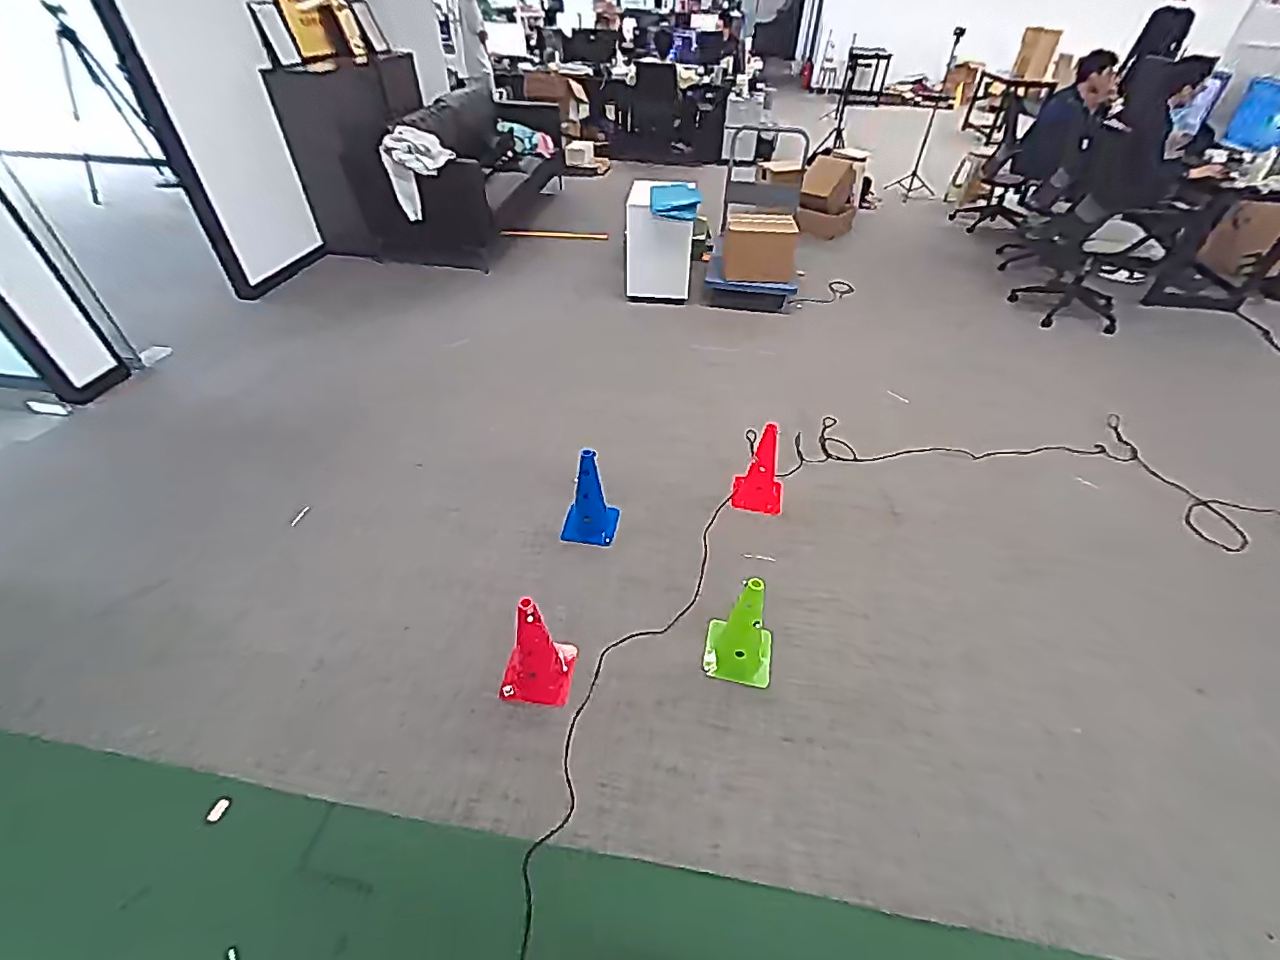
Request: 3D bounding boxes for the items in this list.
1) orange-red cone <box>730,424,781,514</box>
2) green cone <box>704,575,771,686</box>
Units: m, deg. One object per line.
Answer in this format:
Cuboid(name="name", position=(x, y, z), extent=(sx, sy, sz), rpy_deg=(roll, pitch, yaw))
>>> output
Cuboid(name="orange-red cone", position=(0.475, -0.065, 2.103), extent=(0.198, 0.360, 0.199), rpy_deg=(10, 44, 11))
Cuboid(name="green cone", position=(0.311, 0.409, 1.570), extent=(0.200, 0.368, 0.202), rpy_deg=(9, 42, 8))
